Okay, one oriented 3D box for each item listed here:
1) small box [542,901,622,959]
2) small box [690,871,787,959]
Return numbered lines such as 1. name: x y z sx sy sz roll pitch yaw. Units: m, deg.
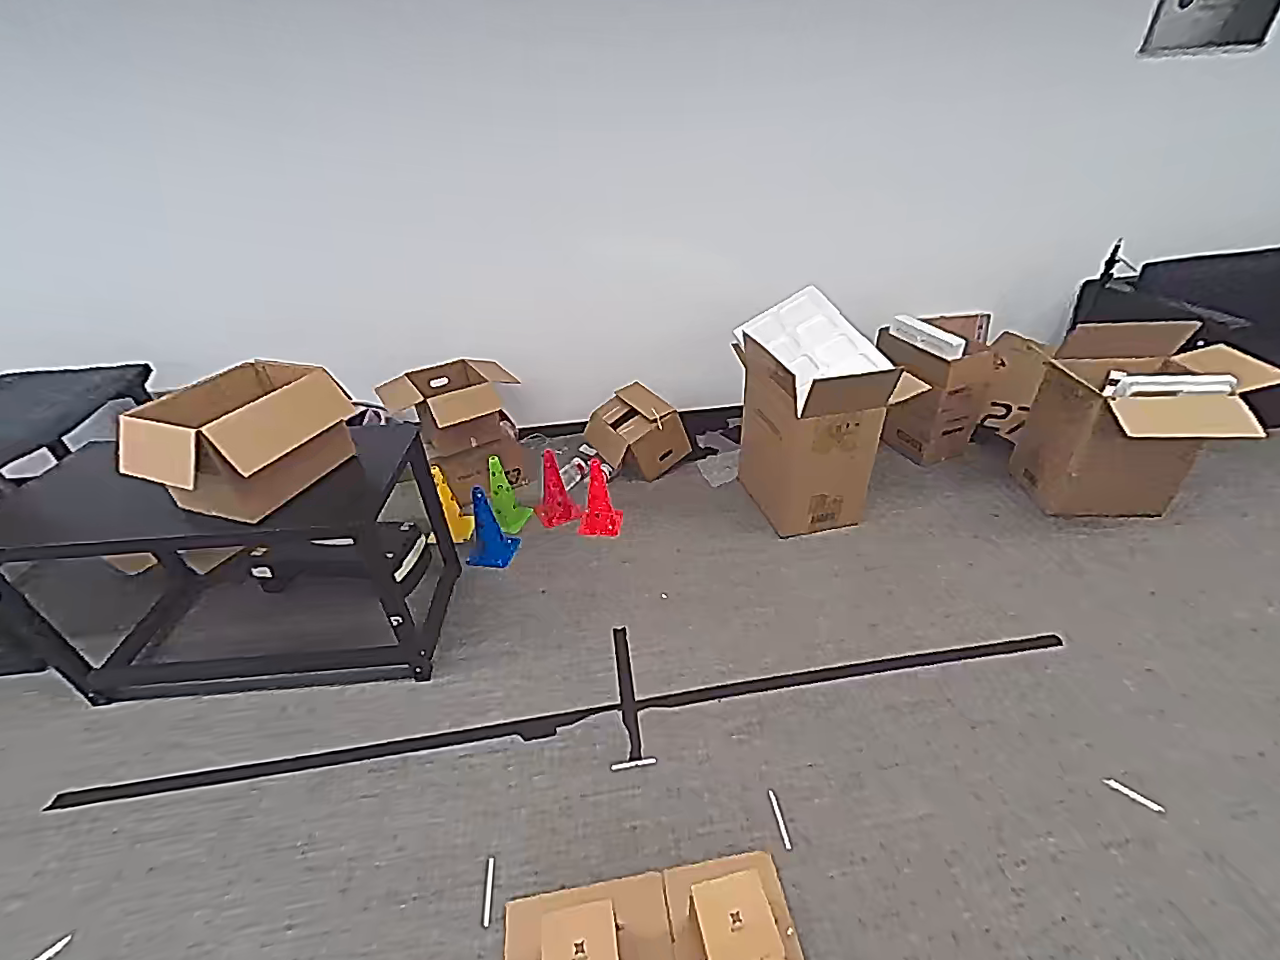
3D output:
1. small box: -0.124 1.079 1.192 0.168 0.176 0.179 -8 35 -6
2. small box: 0.215 1.043 1.232 0.168 0.176 0.179 -9 35 -9
